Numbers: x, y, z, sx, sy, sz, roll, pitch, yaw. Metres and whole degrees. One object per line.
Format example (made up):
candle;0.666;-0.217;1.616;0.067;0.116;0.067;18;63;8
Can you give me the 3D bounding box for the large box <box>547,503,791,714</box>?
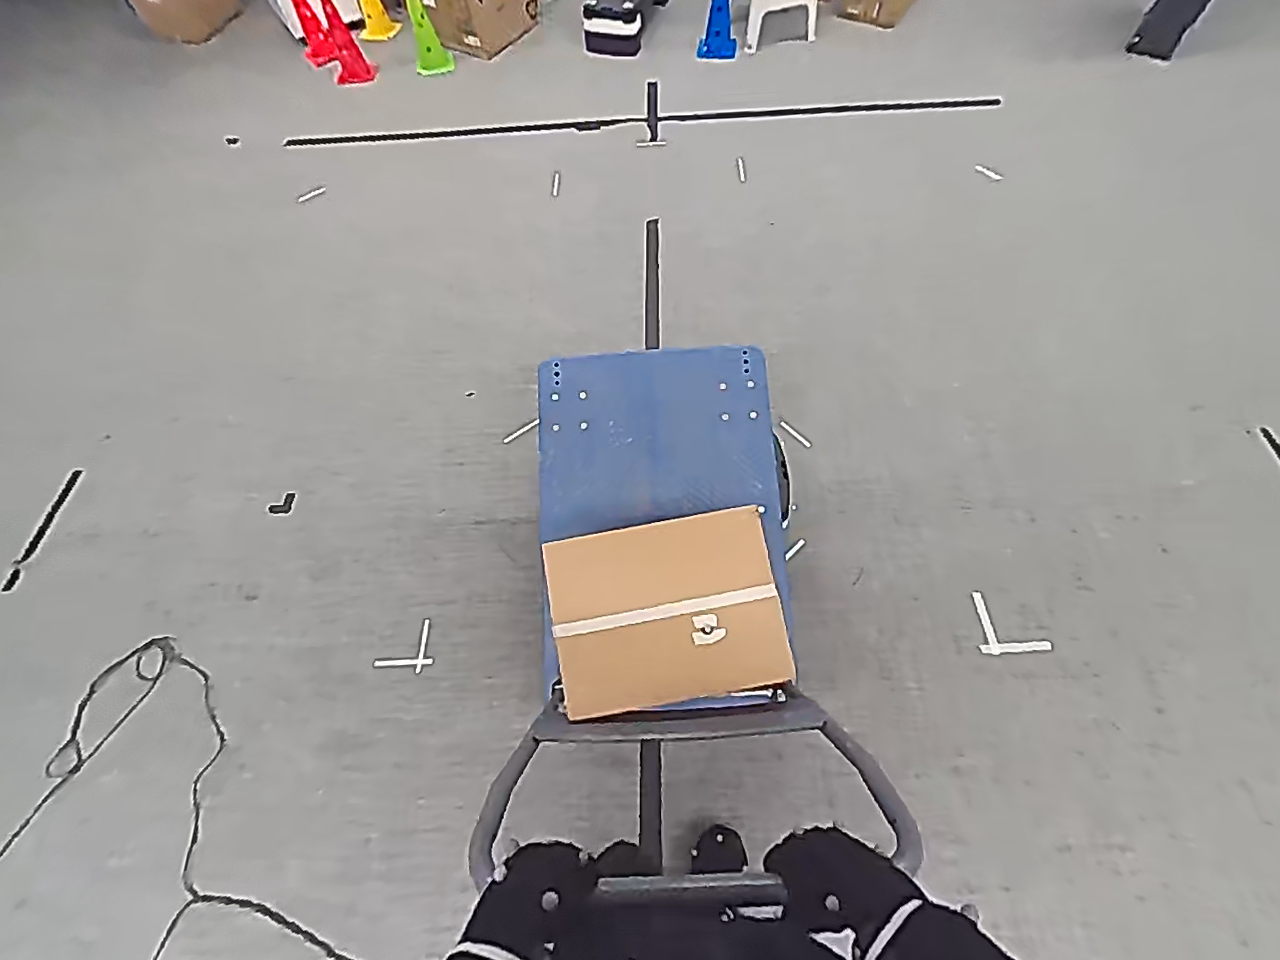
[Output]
large box;0.048;0.257;1.132;0.408;0.320;0.320;-11;80;-1
